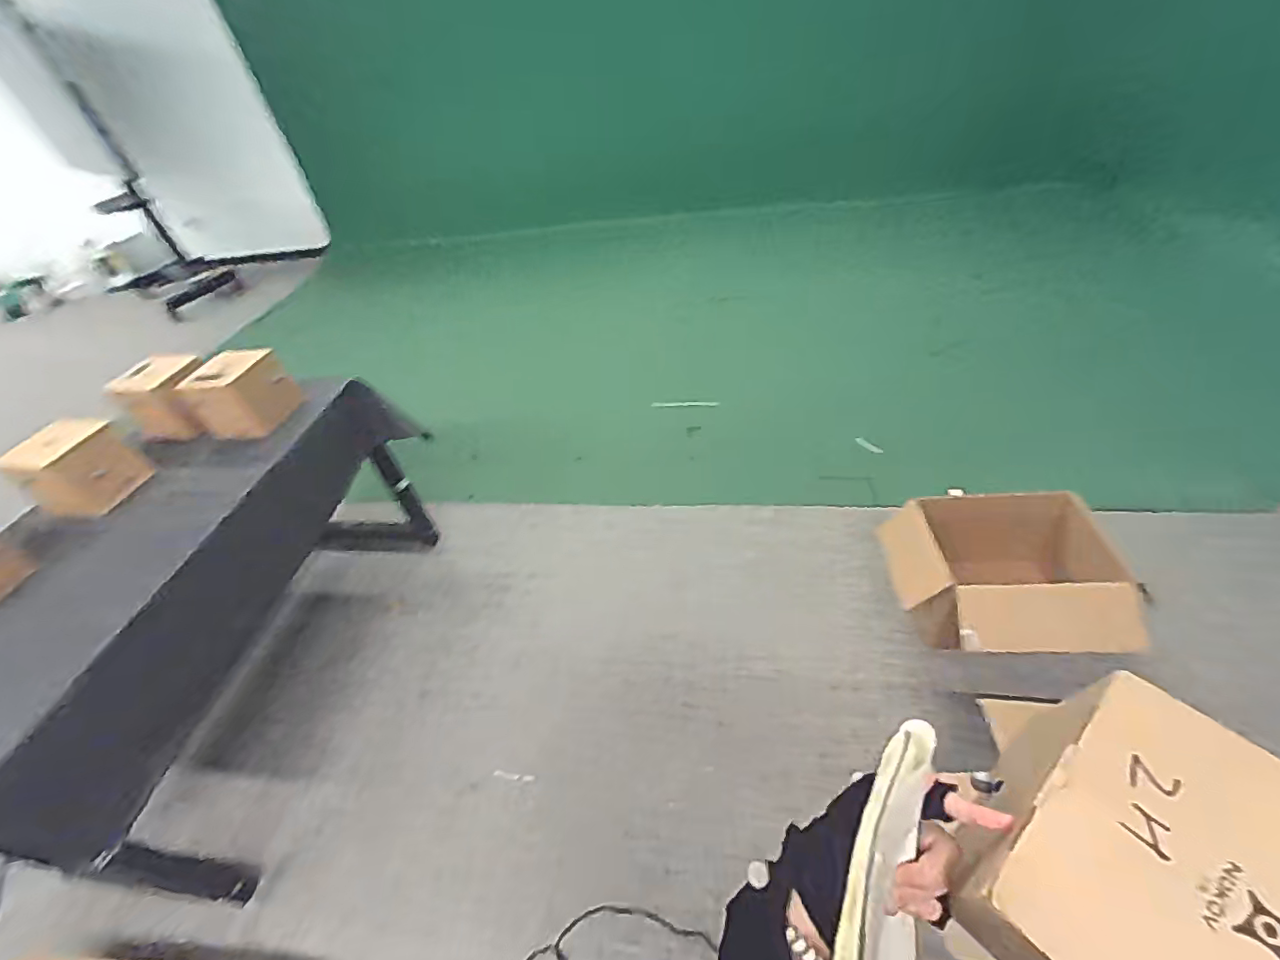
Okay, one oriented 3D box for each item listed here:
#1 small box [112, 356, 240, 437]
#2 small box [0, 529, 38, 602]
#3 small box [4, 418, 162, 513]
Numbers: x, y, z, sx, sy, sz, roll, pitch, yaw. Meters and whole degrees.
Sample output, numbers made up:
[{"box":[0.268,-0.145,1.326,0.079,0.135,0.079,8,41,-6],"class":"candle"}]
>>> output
[{"box":[-1.302,-0.236,1.532,0.179,0.176,0.168,3,45,13],"class":"small box"},{"box":[-1.421,0.183,1.109,0.168,0.176,0.179,2,43,13],"class":"small box"},{"box":[-1.354,-0.033,1.331,0.179,0.176,0.168,2,44,14],"class":"small box"}]
